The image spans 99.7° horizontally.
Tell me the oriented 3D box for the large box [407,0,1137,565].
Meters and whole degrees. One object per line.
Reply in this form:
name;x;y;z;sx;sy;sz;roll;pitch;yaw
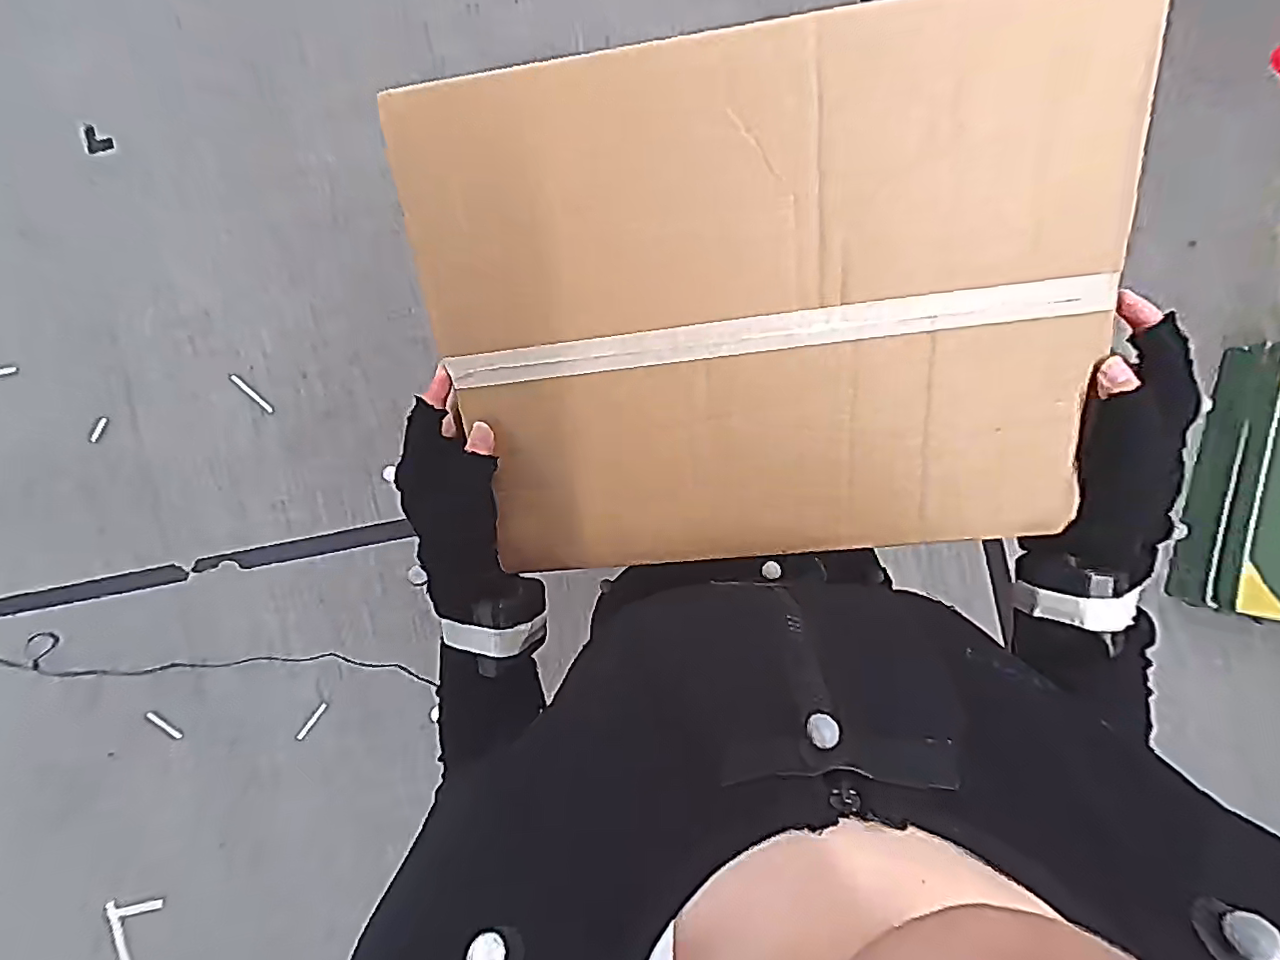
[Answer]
large box;0.085;-0.148;0.485;0.408;0.320;0.320;-5;112;6
